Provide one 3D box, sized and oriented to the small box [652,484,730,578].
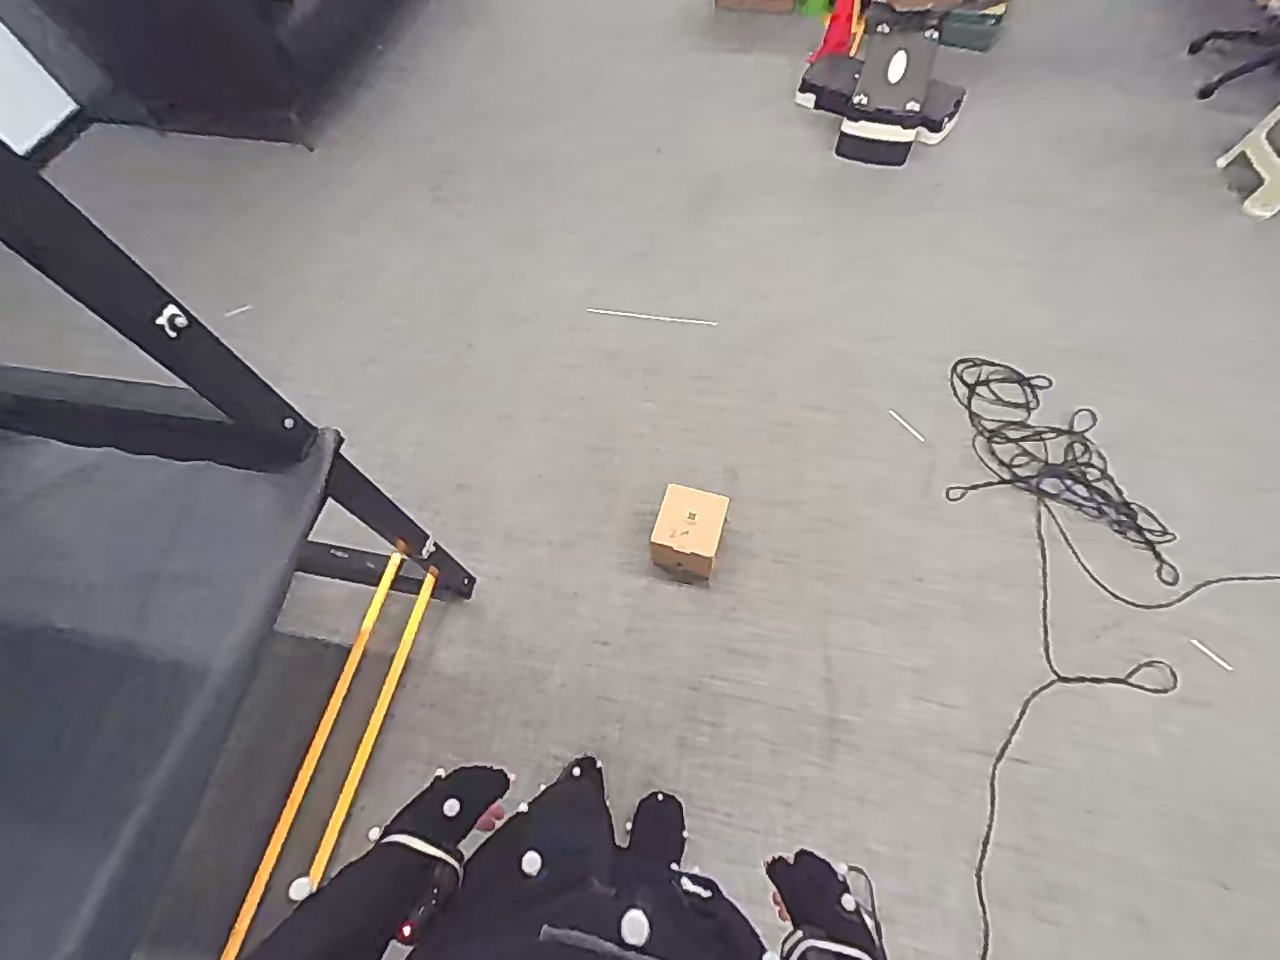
[{"bbox_3d":[0.136,0.140,1.446,0.168,0.176,0.179,14,65,12],"label":"small box"}]
